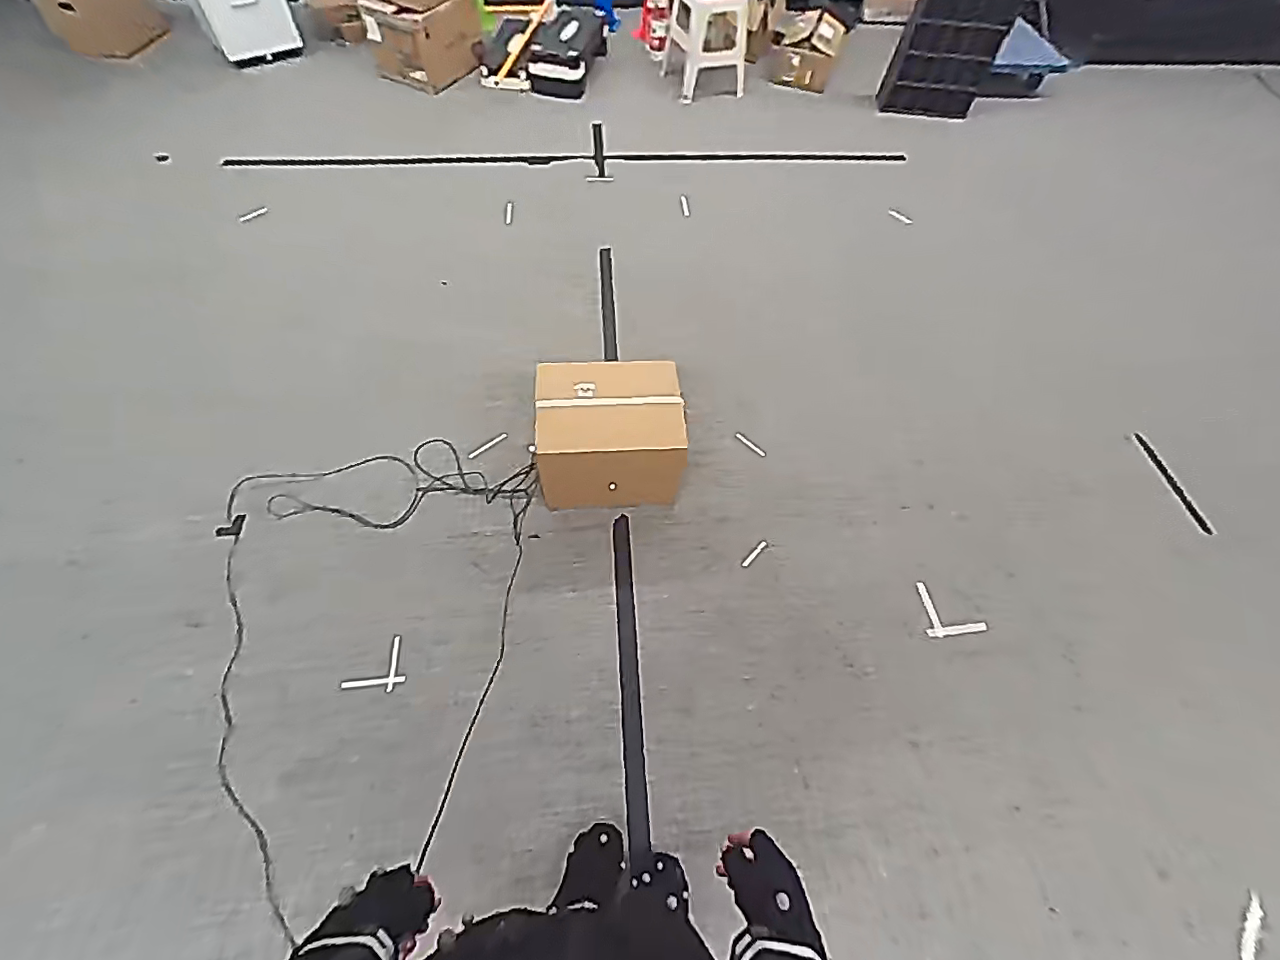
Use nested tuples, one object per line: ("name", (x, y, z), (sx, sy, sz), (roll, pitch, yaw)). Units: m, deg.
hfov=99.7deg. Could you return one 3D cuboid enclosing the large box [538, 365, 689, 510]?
("large box", (-0.082, -0.121, 1.620), (0.408, 0.320, 0.320), (-3, 58, -4))
